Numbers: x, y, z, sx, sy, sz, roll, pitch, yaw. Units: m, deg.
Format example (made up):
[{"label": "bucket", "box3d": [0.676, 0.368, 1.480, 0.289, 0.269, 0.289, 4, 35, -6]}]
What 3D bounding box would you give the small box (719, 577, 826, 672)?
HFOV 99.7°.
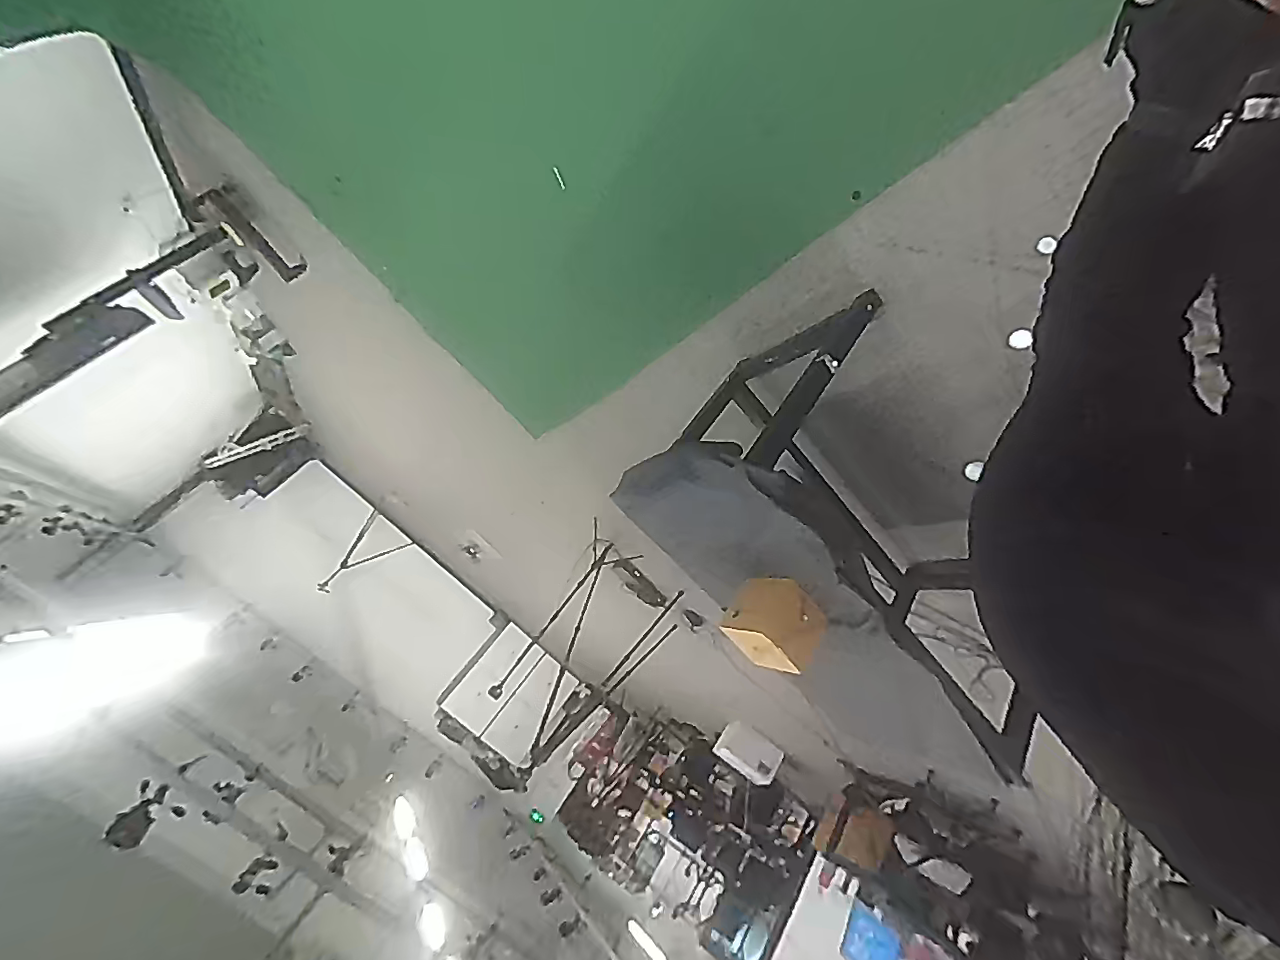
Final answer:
[{"label": "small box", "box3d": [0.346, 0.367, 1.406, 0.168, 0.176, 0.179, 46, 152, -16]}]
